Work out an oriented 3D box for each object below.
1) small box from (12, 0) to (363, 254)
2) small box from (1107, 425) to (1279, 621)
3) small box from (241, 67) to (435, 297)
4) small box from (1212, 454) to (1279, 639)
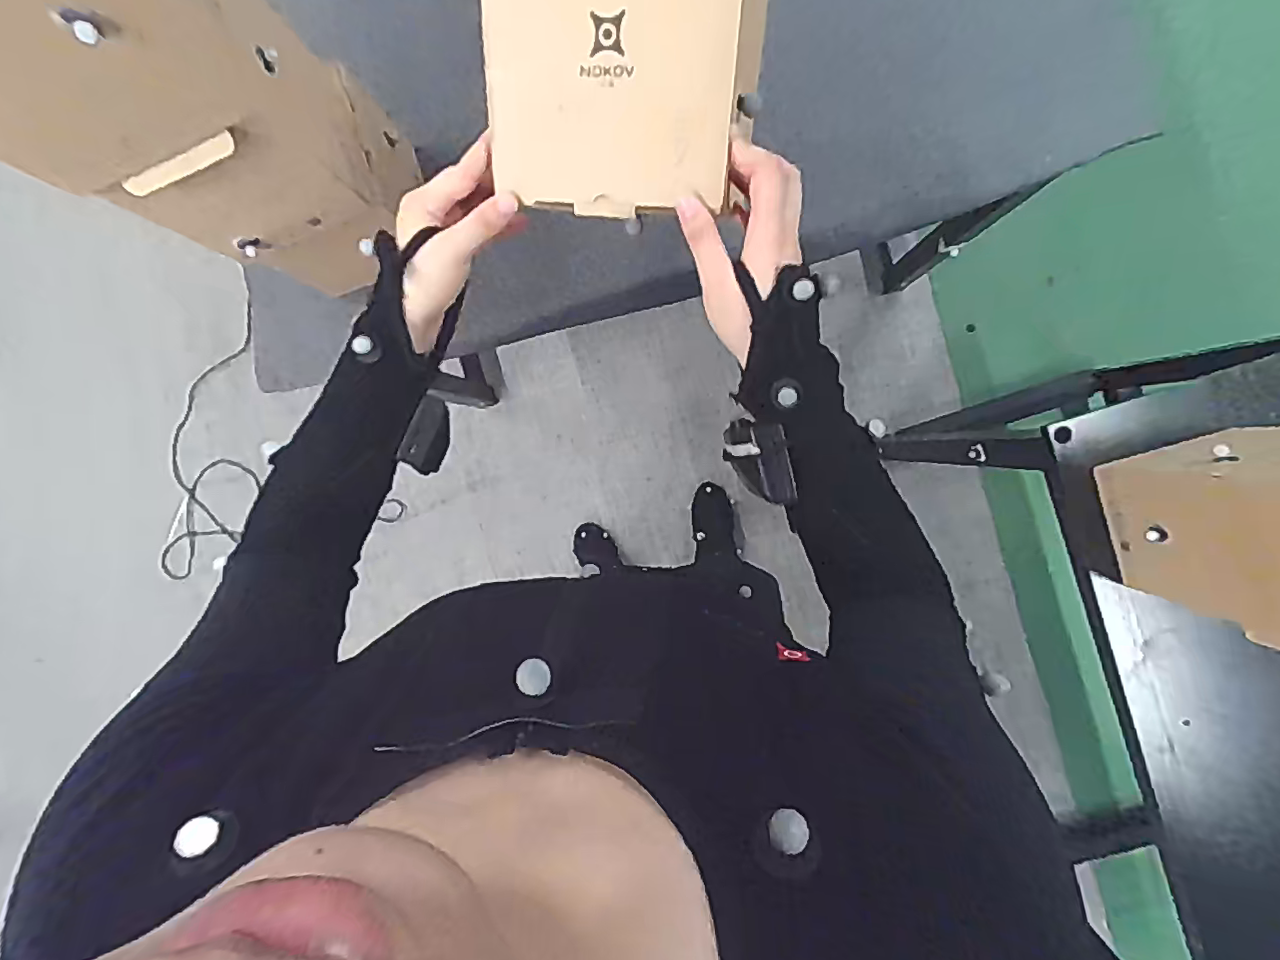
[{"bbox_3d":[-0.404,-0.342,0.516,0.168,0.176,0.179,-21,89,5],"label":"small box"},{"bbox_3d":[0.682,0.039,0.611,0.179,0.176,0.168,-17,93,5],"label":"small box"},{"bbox_3d":[-0.381,-0.354,0.679,0.179,0.176,0.168,-17,90,6],"label":"small box"},{"bbox_3d":[0.655,0.060,0.451,0.168,0.176,0.179,-17,92,6],"label":"small box"}]
